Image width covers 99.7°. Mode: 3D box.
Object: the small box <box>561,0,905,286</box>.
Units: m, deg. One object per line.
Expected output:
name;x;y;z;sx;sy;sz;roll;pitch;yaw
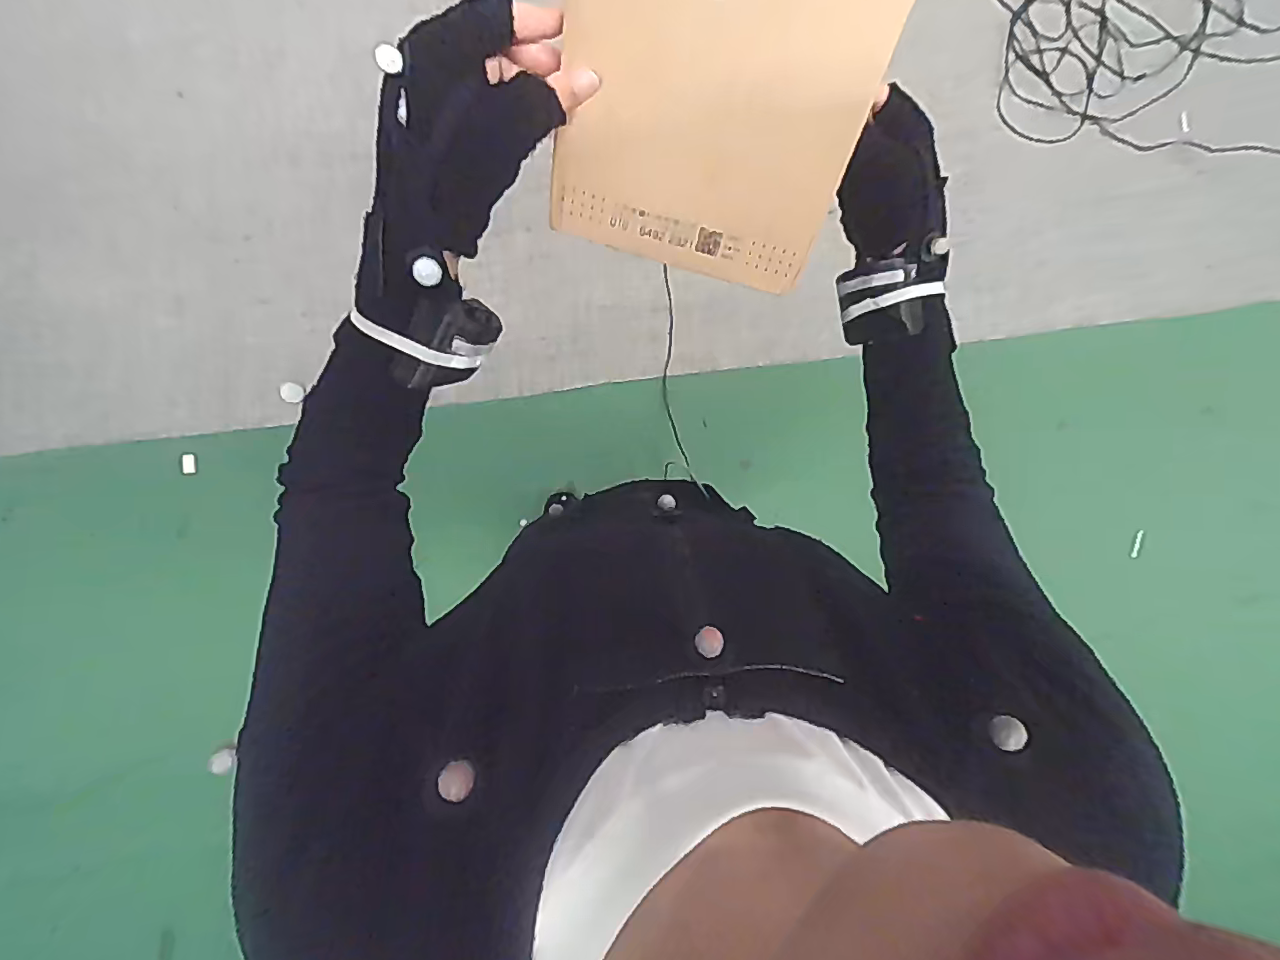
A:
small box;0.053;-0.257;0.362;0.168;0.176;0.179;17;42;2
